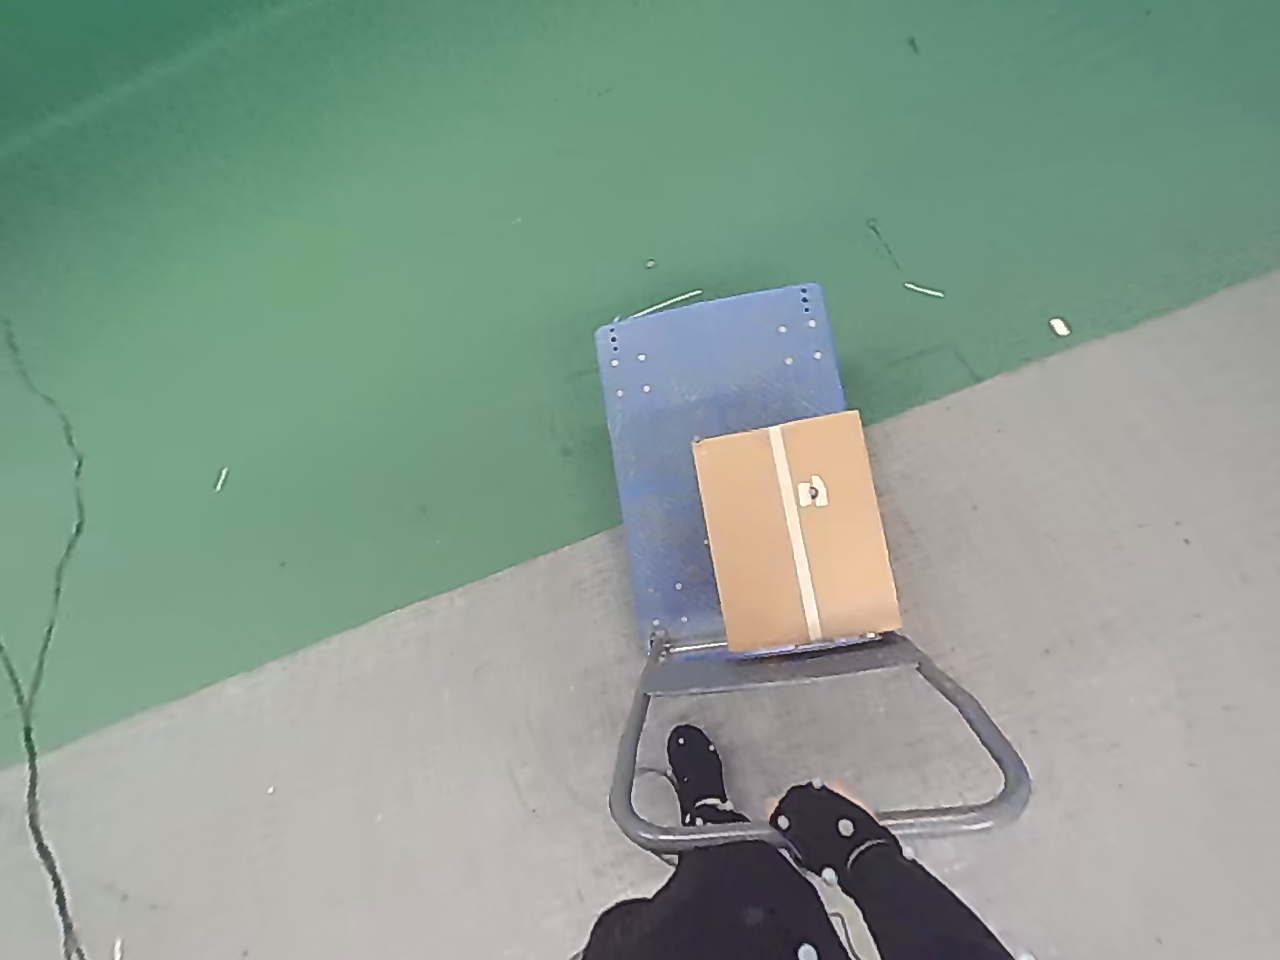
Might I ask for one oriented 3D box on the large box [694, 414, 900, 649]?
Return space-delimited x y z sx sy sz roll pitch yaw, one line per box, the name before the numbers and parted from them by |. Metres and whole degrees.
large box | 0.311 0.108 1.156 0.320 0.320 0.408 -10 85 7
